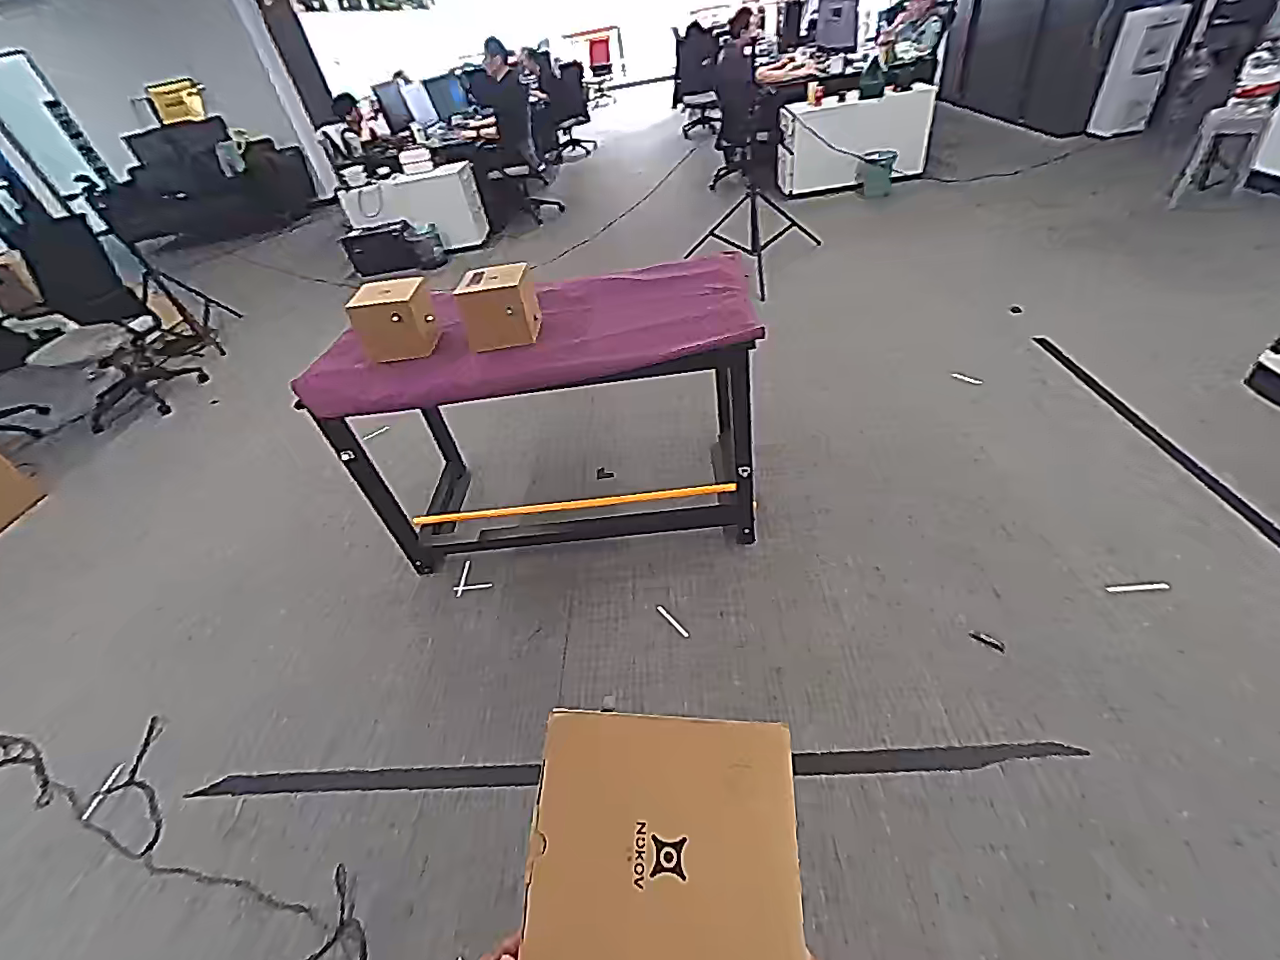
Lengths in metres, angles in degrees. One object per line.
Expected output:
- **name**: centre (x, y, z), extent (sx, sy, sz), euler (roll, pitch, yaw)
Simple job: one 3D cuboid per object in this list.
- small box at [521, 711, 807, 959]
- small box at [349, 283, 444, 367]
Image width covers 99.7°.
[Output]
- **small box**: centre (0.024, 0.281, 0.422), extent (0.179, 0.176, 0.168), euler (-1, 60, 8)
- **small box**: centre (-0.681, -0.439, 1.537), extent (0.179, 0.176, 0.168), euler (-6, 40, 2)
